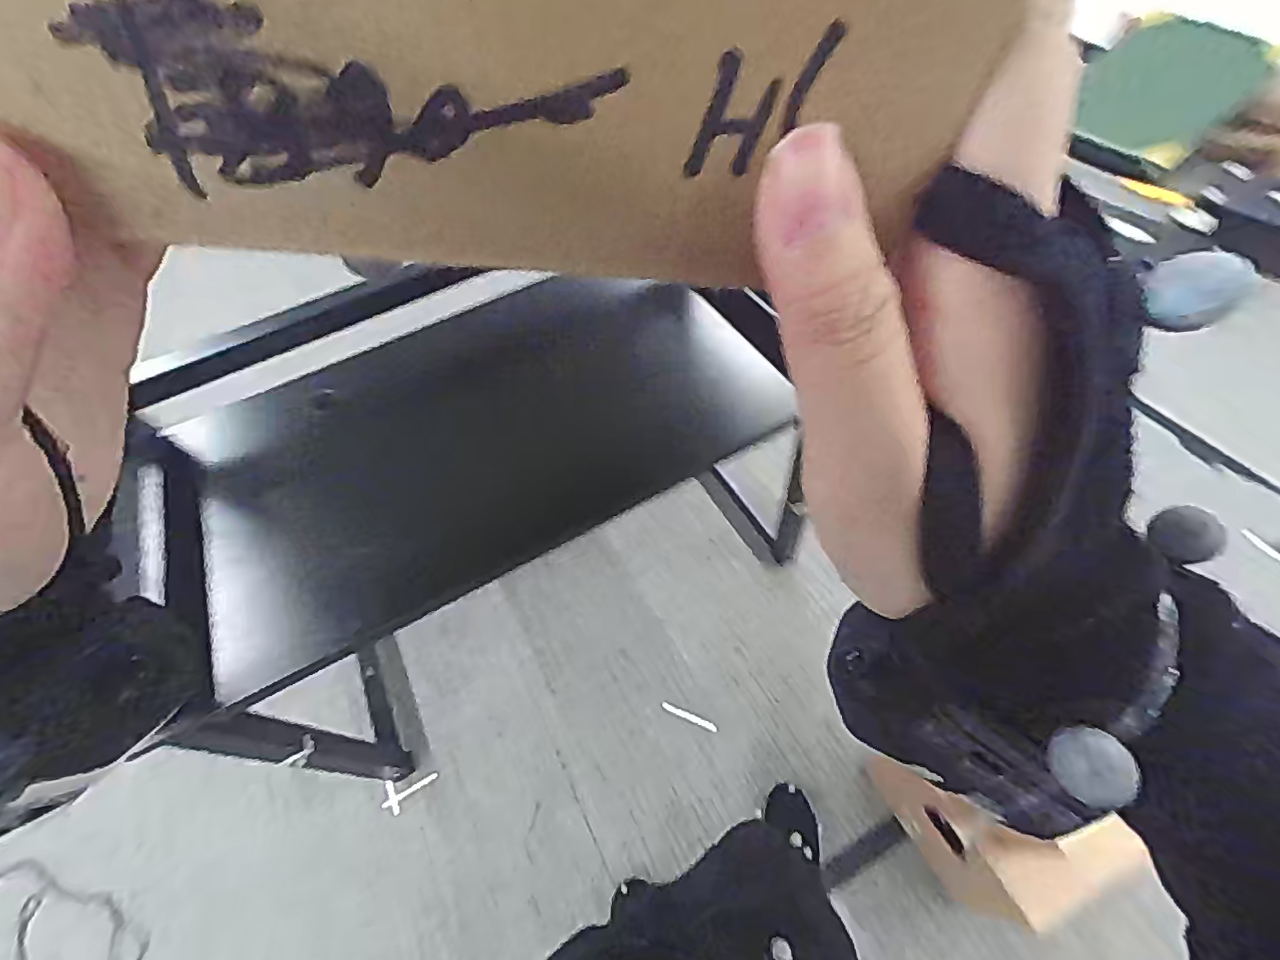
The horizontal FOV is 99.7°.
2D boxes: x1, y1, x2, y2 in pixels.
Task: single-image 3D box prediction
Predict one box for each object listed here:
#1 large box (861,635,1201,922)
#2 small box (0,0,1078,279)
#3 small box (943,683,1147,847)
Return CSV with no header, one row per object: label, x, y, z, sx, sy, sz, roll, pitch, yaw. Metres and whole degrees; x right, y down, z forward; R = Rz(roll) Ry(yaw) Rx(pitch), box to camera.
large box,0.734,0.585,1.088,0.408,0.320,0.320,-26,59,-11
small box,-0.018,-0.161,0.091,0.168,0.179,0.176,3,47,-6
small box,0.640,0.465,0.883,0.179,0.176,0.168,-27,56,-11
